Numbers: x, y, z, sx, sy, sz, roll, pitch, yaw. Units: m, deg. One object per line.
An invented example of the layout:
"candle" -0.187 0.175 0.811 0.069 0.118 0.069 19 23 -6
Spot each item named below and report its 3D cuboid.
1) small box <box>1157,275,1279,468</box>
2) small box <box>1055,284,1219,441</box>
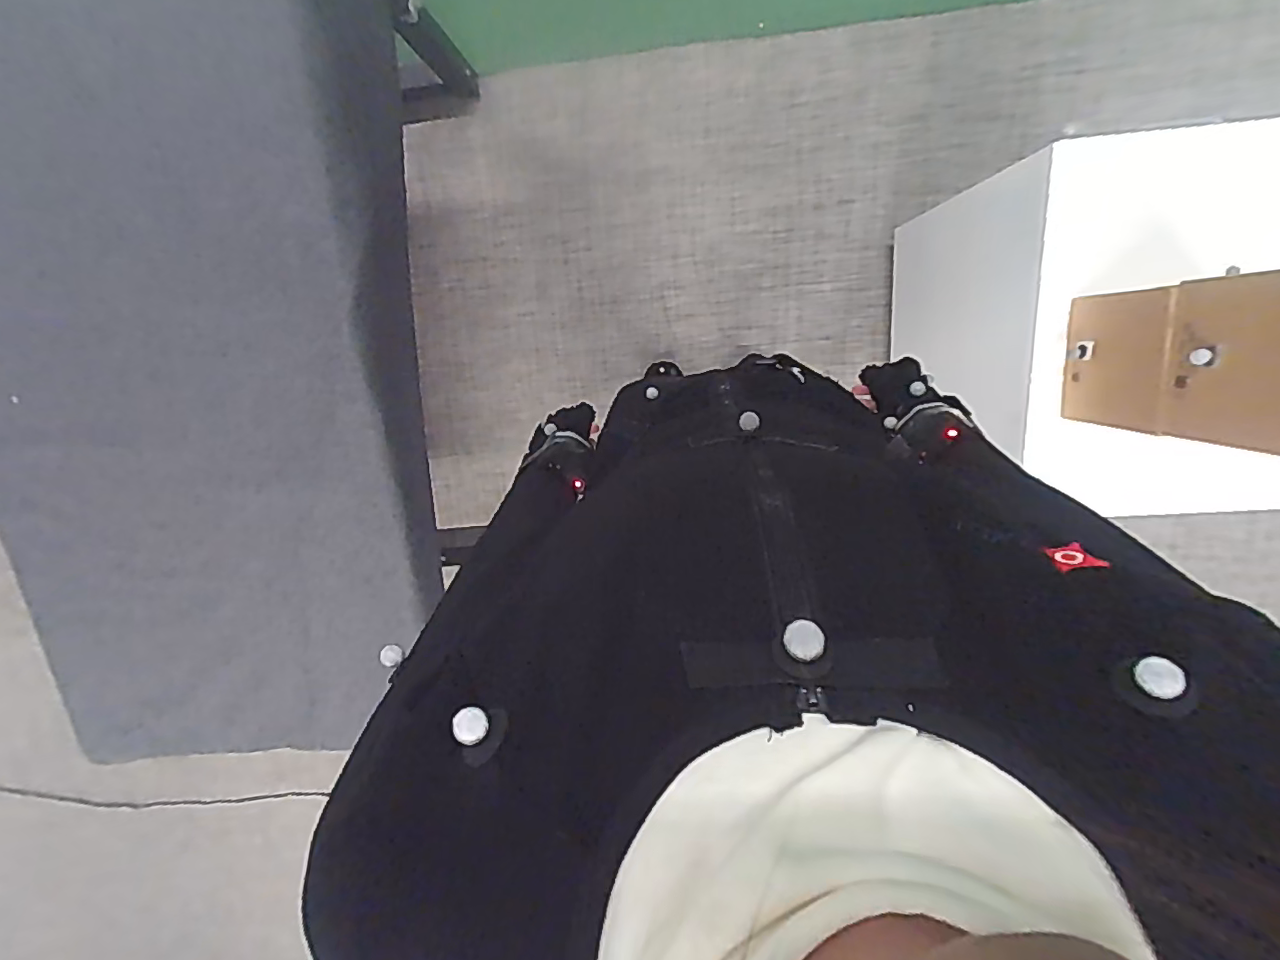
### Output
"small box" 0.643 -0.109 0.495 0.179 0.176 0.168 -7 103 5
"small box" 0.654 -0.147 0.654 0.179 0.176 0.168 -4 103 8
